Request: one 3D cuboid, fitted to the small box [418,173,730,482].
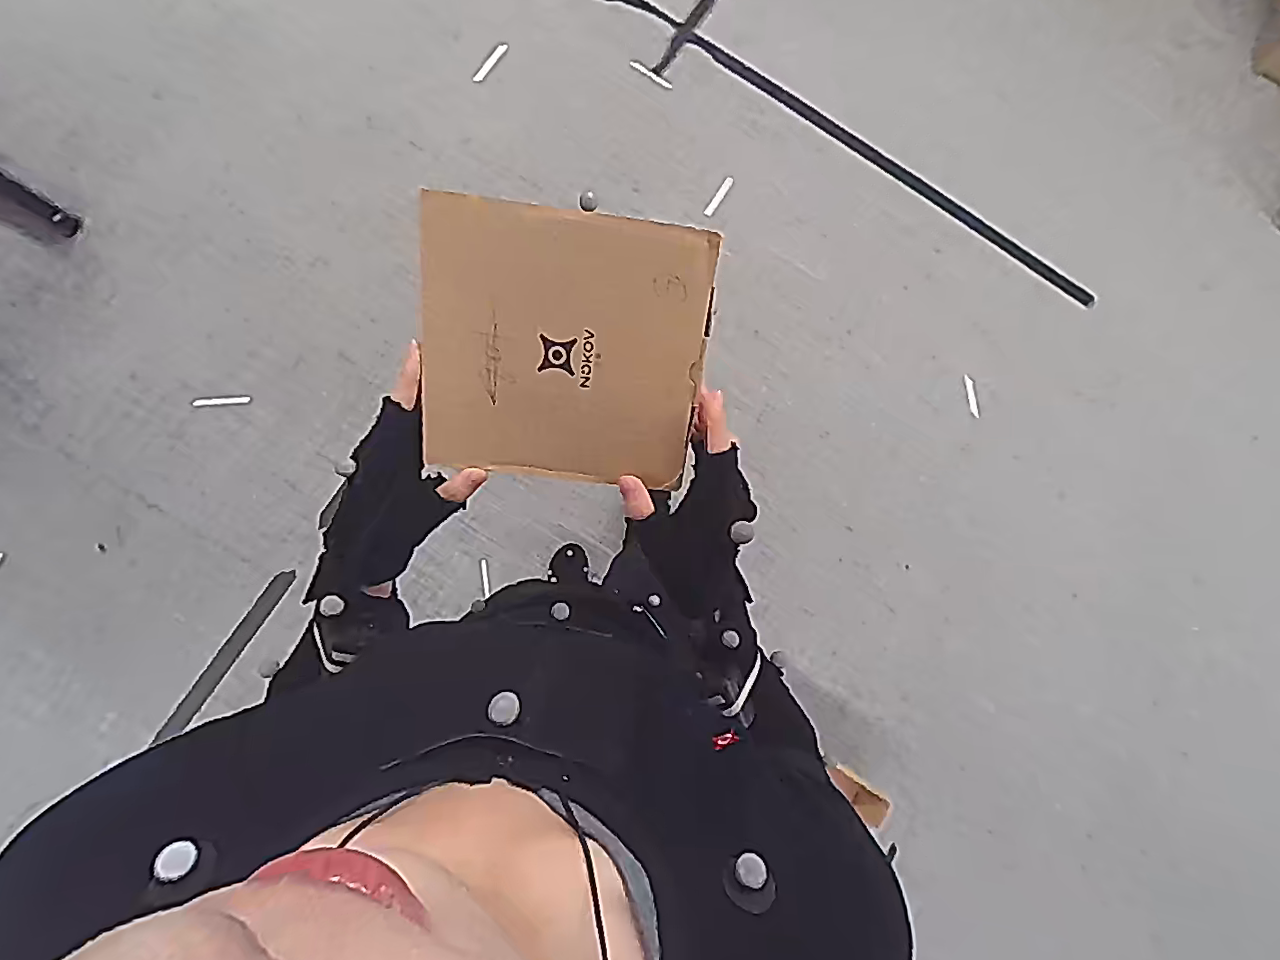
[{"bbox_3d":[-0.046,-0.109,0.399,0.179,0.176,0.168,6,108,-3],"label":"small box"}]
